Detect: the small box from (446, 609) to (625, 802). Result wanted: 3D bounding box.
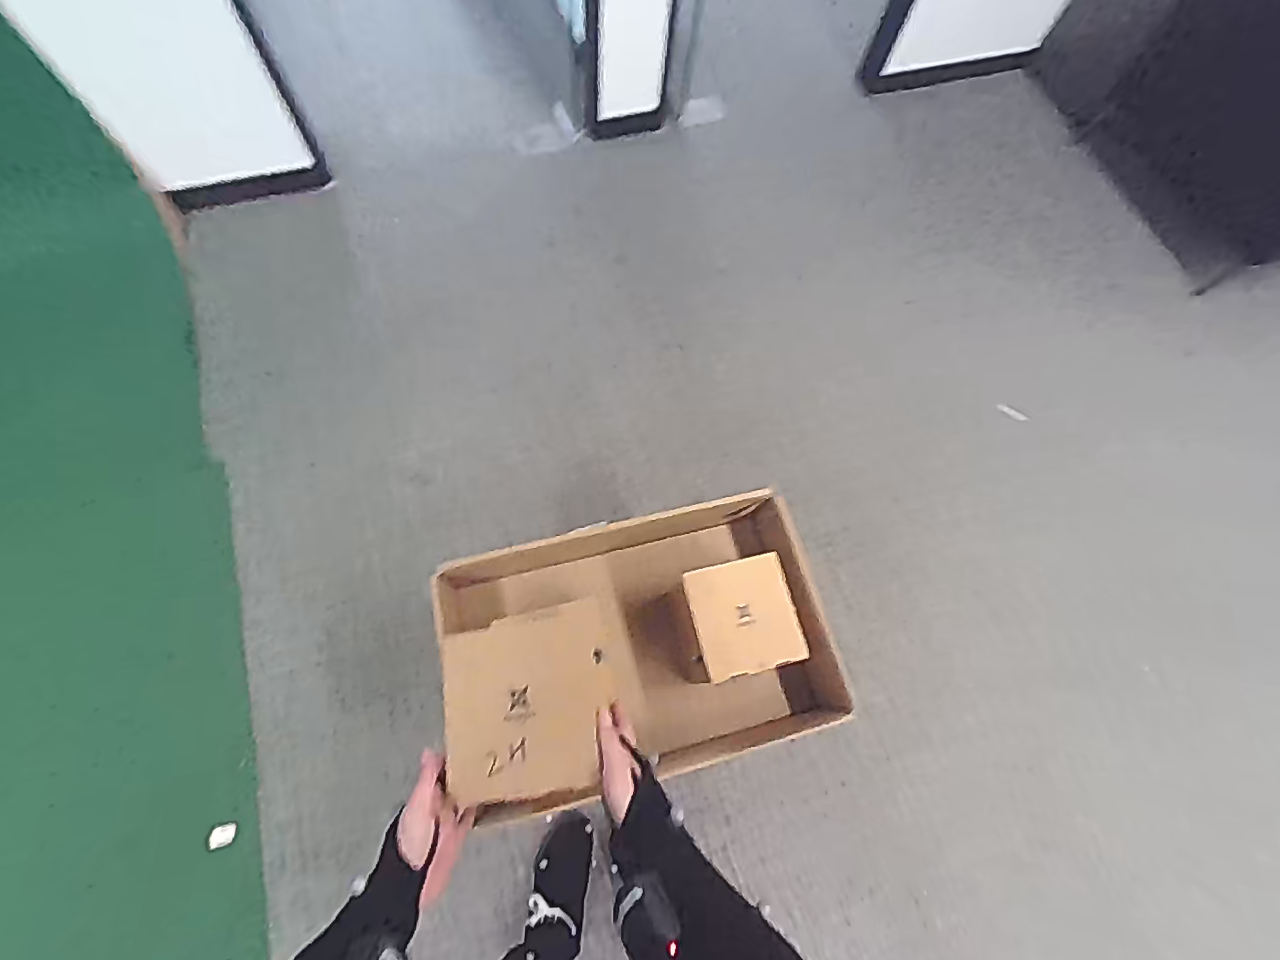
[{"bbox_3d":[-0.119,0.264,0.655,0.168,0.176,0.179,-11,71,4],"label":"small box"}]
